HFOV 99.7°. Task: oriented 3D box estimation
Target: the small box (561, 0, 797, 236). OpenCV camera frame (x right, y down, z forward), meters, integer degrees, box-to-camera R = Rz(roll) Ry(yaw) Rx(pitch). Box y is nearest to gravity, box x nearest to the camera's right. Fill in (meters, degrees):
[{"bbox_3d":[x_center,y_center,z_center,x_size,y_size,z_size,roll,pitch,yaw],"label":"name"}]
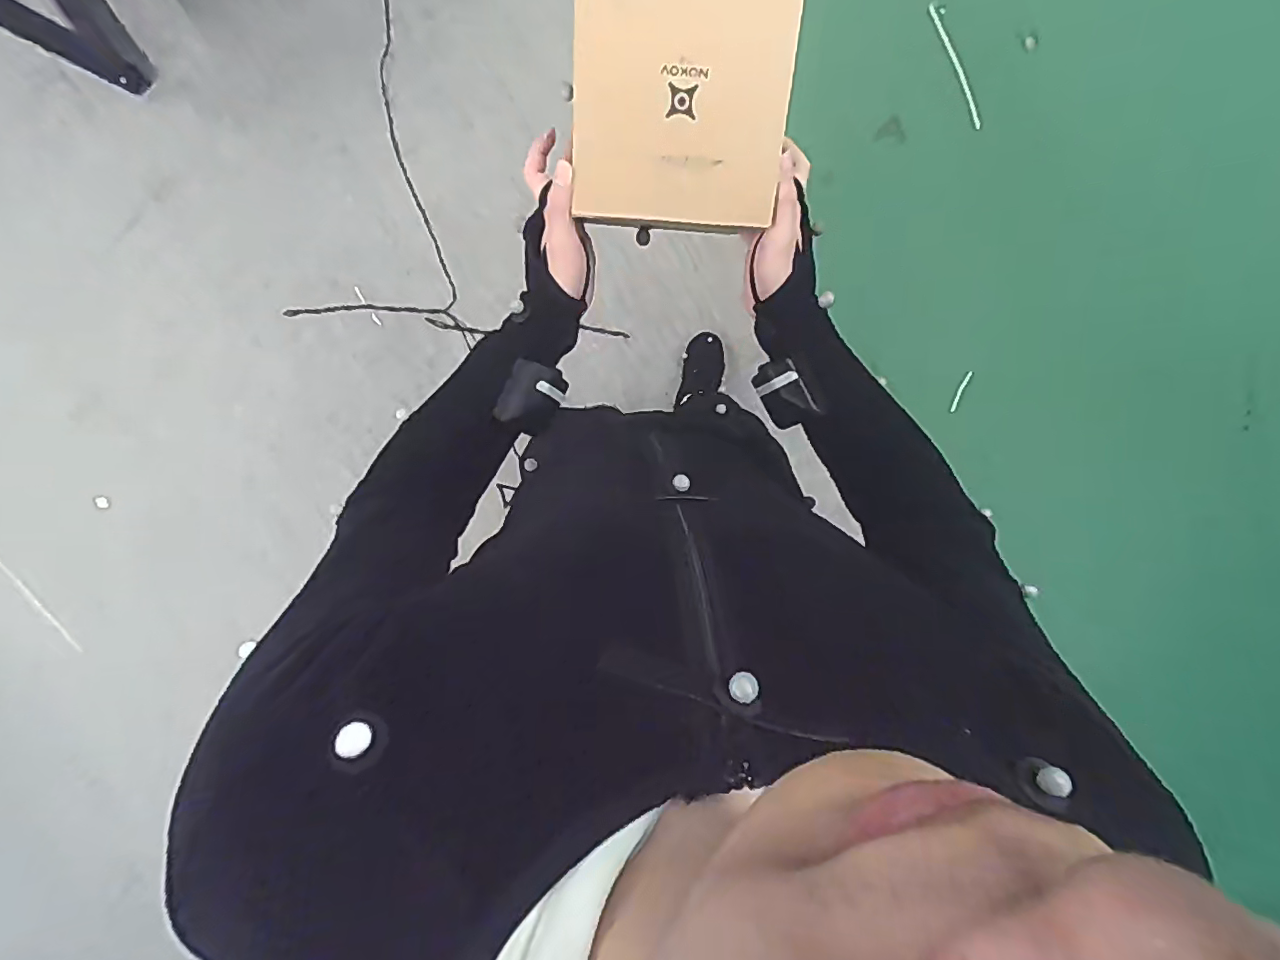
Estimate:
[{"bbox_3d":[0.022,-0.317,0.471,0.168,0.176,0.179,3,112,-2],"label":"small box"}]
